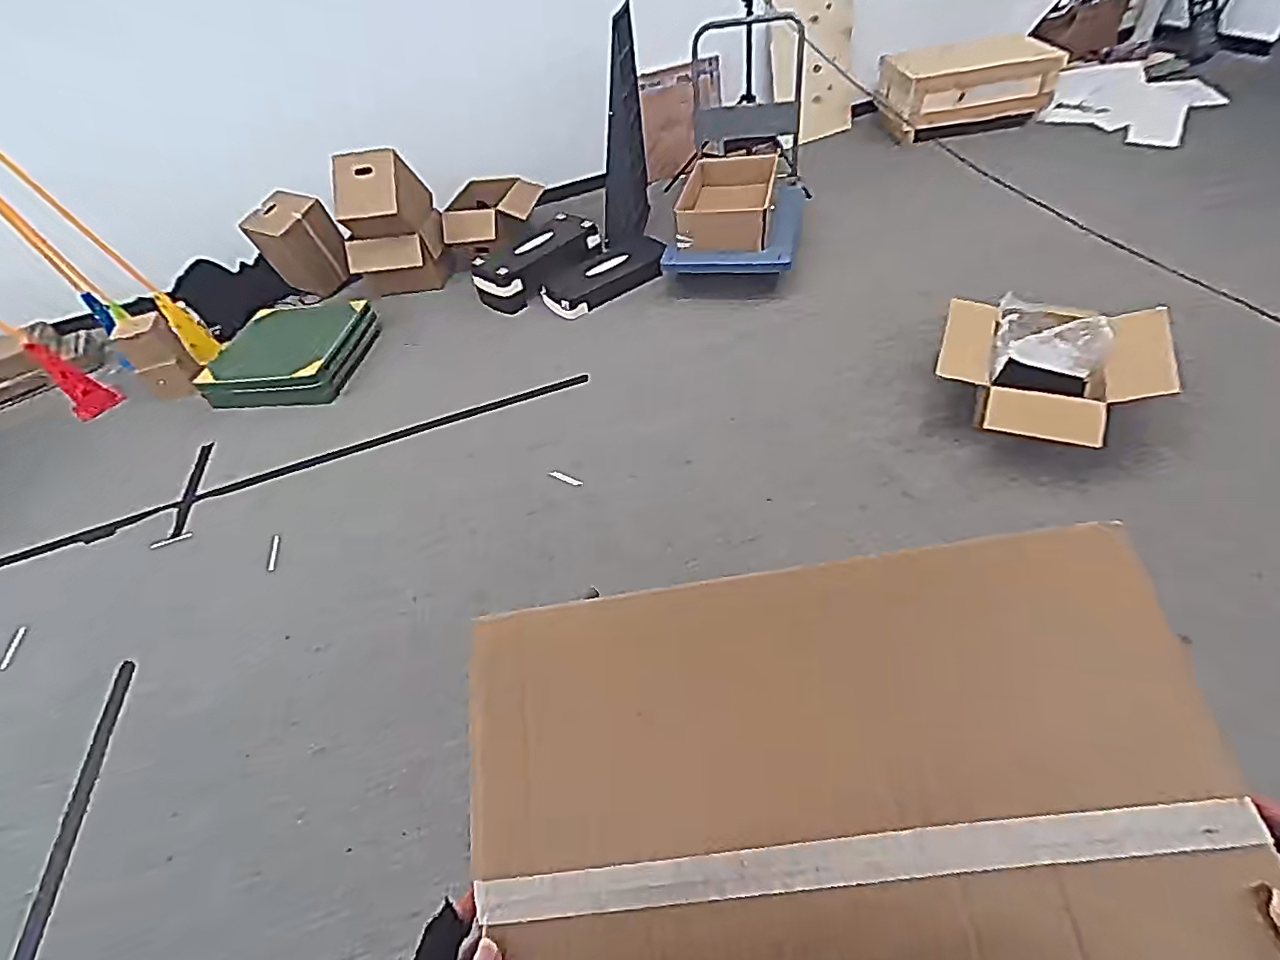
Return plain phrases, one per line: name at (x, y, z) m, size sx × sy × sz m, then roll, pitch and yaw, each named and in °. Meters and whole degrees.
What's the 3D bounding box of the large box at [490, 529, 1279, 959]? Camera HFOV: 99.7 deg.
large box at (0.133, 0.256, 0.439) m, size 0.408 × 0.320 × 0.320 m, roll -10°, pitch 71°, yaw 5°
